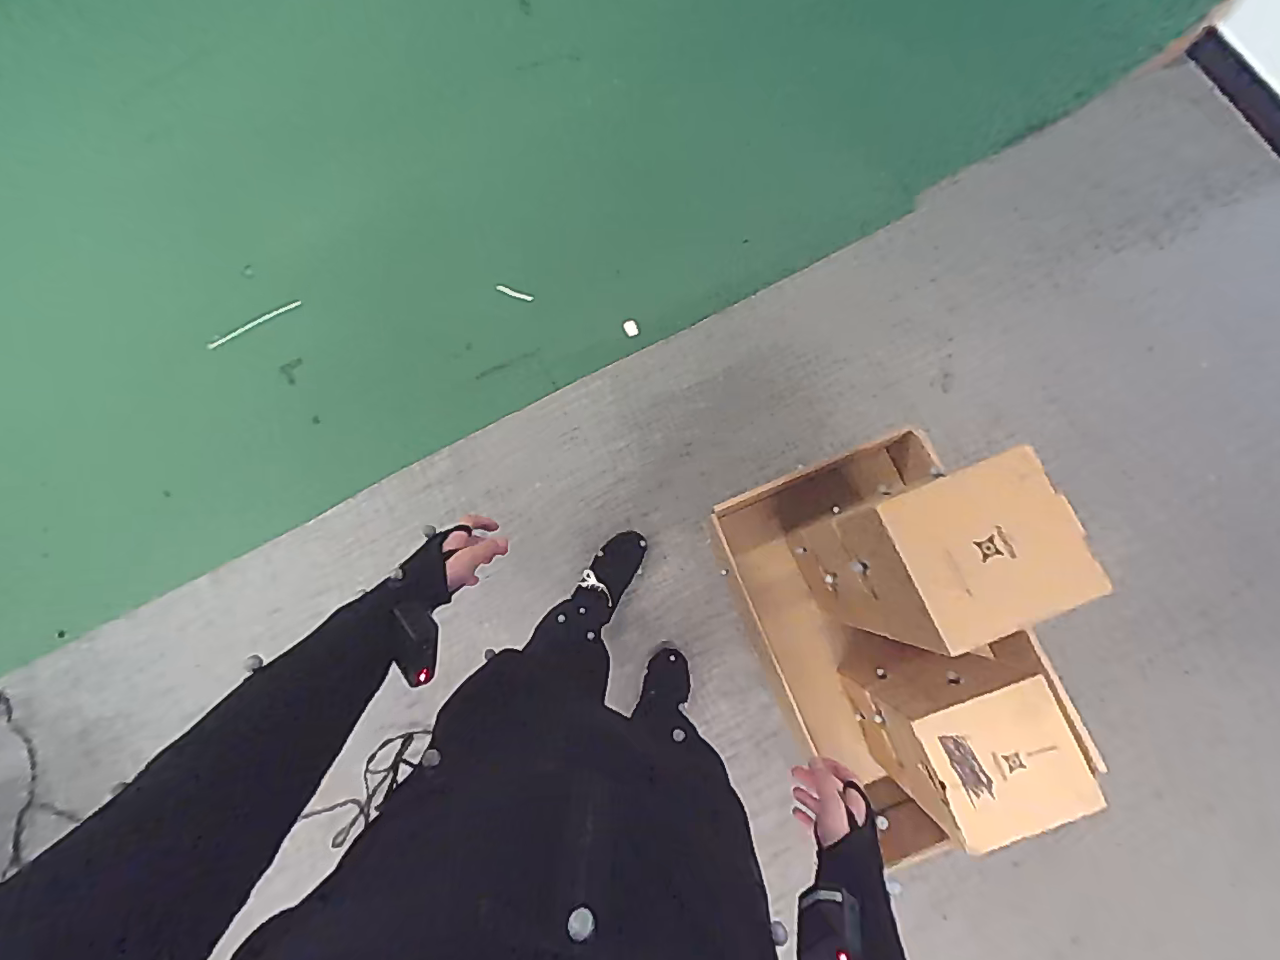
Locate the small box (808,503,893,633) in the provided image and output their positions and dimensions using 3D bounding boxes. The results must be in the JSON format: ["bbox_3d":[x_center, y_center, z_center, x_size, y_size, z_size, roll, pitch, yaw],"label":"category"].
[{"bbox_3d":[0.368,0.102,0.773,0.179,0.176,0.168,-23,79,0],"label":"small box"}]

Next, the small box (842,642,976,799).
[{"bbox_3d":[0.463,0.379,0.887,0.179,0.176,0.168,-22,79,2],"label":"small box"}]

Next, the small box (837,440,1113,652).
[{"bbox_3d":[0.355,0.075,0.614,0.179,0.176,0.168,-22,79,1],"label":"small box"}]

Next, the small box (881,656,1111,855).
[{"bbox_3d":[0.450,0.352,0.725,0.179,0.176,0.168,-21,79,1],"label":"small box"}]
